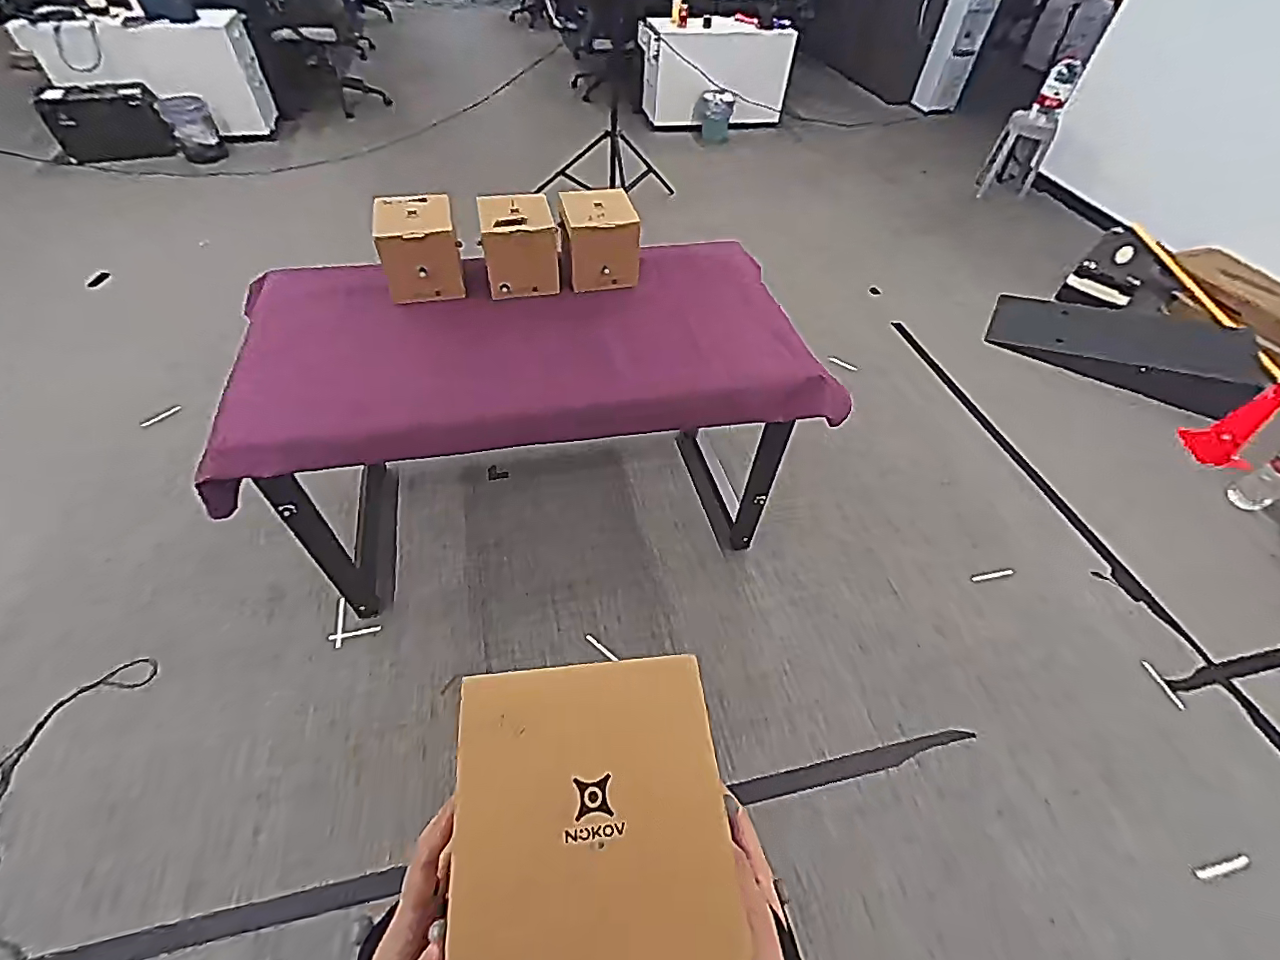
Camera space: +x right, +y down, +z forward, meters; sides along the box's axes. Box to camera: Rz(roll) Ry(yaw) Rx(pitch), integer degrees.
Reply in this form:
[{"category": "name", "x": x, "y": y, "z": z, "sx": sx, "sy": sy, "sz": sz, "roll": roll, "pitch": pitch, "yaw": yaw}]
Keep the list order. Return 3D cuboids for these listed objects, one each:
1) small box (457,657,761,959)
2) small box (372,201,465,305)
[{"category": "small box", "x": -0.033, "y": 0.250, "z": 0.395, "sx": 0.168, "sy": 0.176, "sz": 0.179, "roll": -2, "pitch": 53, "yaw": -10}, {"category": "small box", "x": -0.514, "y": -0.527, "z": 1.271, "sx": 0.168, "sy": 0.176, "sz": 0.179, "roll": -10, "pitch": 54, "yaw": -12}]
